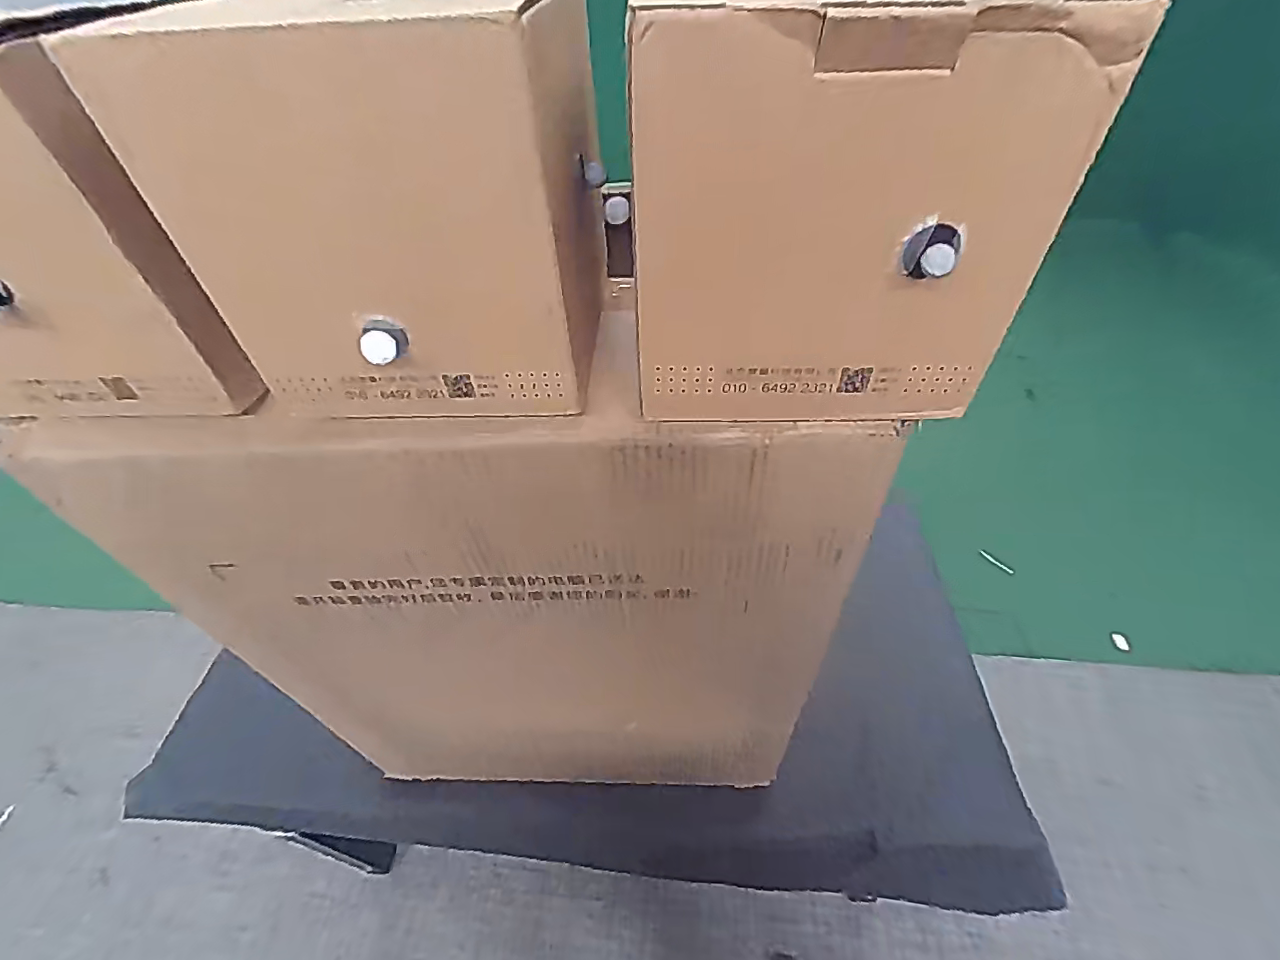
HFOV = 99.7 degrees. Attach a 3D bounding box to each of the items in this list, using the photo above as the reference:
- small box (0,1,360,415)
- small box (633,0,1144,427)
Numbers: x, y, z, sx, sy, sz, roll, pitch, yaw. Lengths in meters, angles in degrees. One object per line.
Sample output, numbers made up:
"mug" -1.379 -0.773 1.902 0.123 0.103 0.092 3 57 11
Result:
"small box" -0.299 -0.151 0.315 0.168 0.176 0.179 0 46 4
"small box" 0.082 -0.142 0.287 0.168 0.176 0.179 1 45 0
